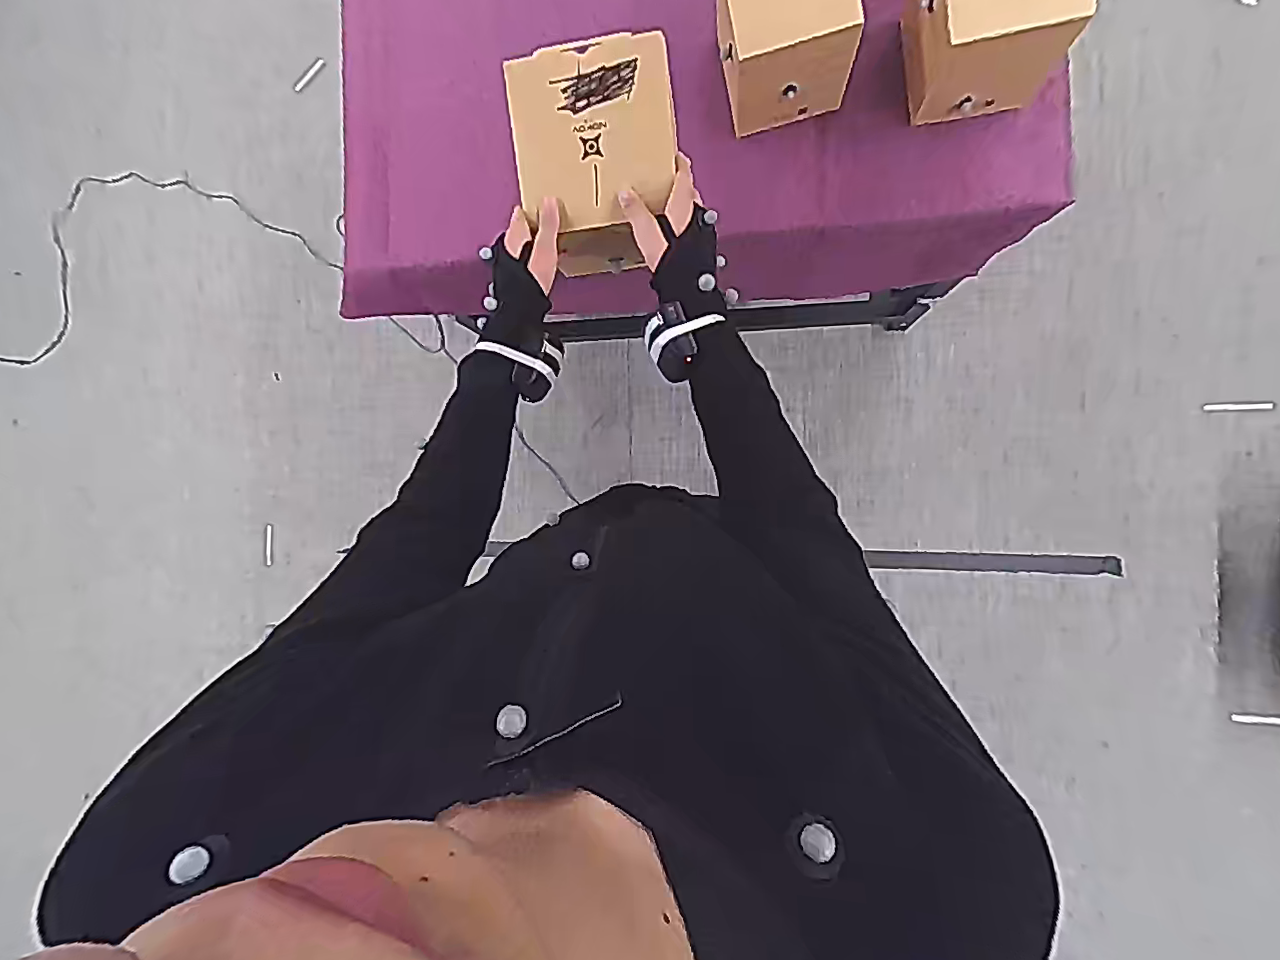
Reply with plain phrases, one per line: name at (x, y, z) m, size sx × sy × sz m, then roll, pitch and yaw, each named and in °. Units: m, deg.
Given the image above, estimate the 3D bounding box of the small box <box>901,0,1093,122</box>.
small box at (0.476, -0.646, 0.749) m, size 0.168 × 0.176 × 0.179 m, roll -5°, pitch 89°, yaw 10°

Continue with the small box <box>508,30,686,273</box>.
small box at (-0.037, -0.360, 0.629) m, size 0.168 × 0.176 × 0.179 m, roll -5°, pitch 97°, yaw 9°

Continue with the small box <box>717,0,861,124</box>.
small box at (0.208, -0.663, 0.793) m, size 0.168 × 0.176 × 0.179 m, roll -10°, pitch 88°, yaw 9°
